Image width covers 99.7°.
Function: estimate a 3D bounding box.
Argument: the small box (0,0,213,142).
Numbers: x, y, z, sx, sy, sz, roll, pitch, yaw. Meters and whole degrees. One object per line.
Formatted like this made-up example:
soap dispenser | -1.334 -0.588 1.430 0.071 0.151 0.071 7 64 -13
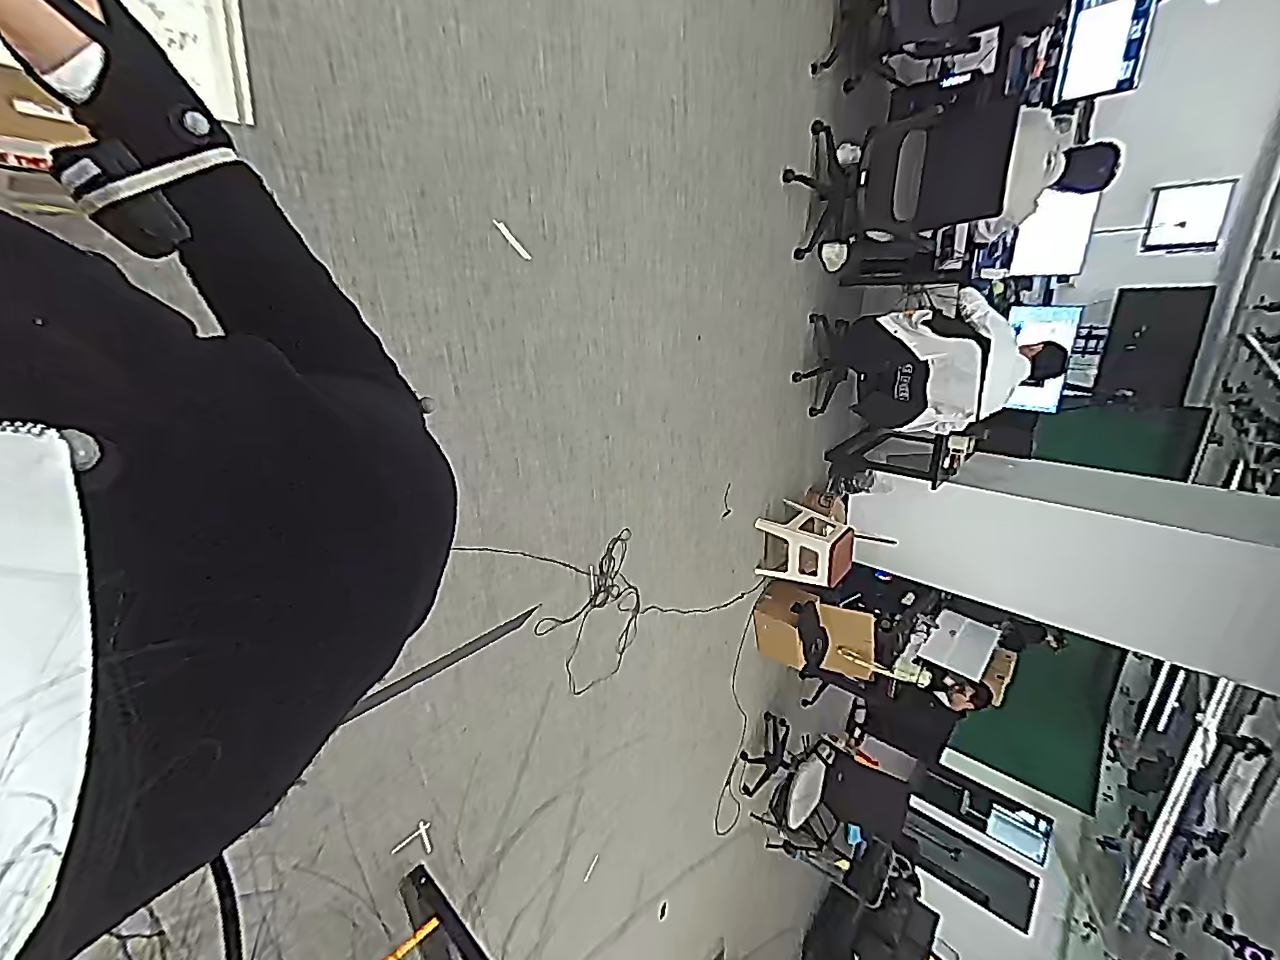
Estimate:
small box | -0.534 -0.443 0.502 0.168 0.176 0.179 -16 116 -48
